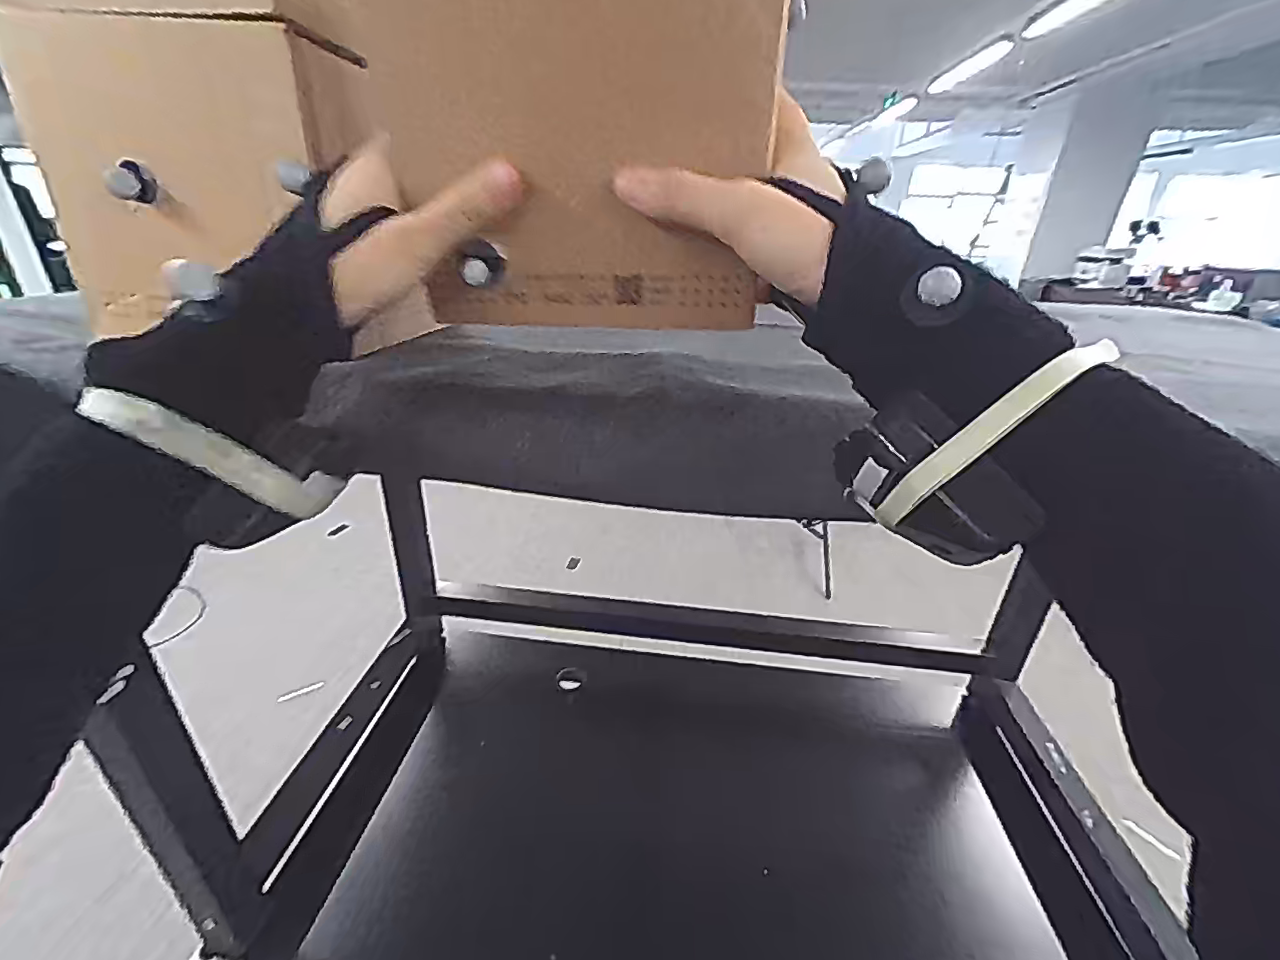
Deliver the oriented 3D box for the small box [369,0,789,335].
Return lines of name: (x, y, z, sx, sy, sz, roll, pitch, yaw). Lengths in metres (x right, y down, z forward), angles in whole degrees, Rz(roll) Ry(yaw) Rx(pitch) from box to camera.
small box: (-0.014, -0.188, 0.299, 0.168, 0.176, 0.179, 3, 35, 5)

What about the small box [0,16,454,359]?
small box: (-0.242, -0.185, 0.376, 0.168, 0.176, 0.179, 5, 24, 4)
